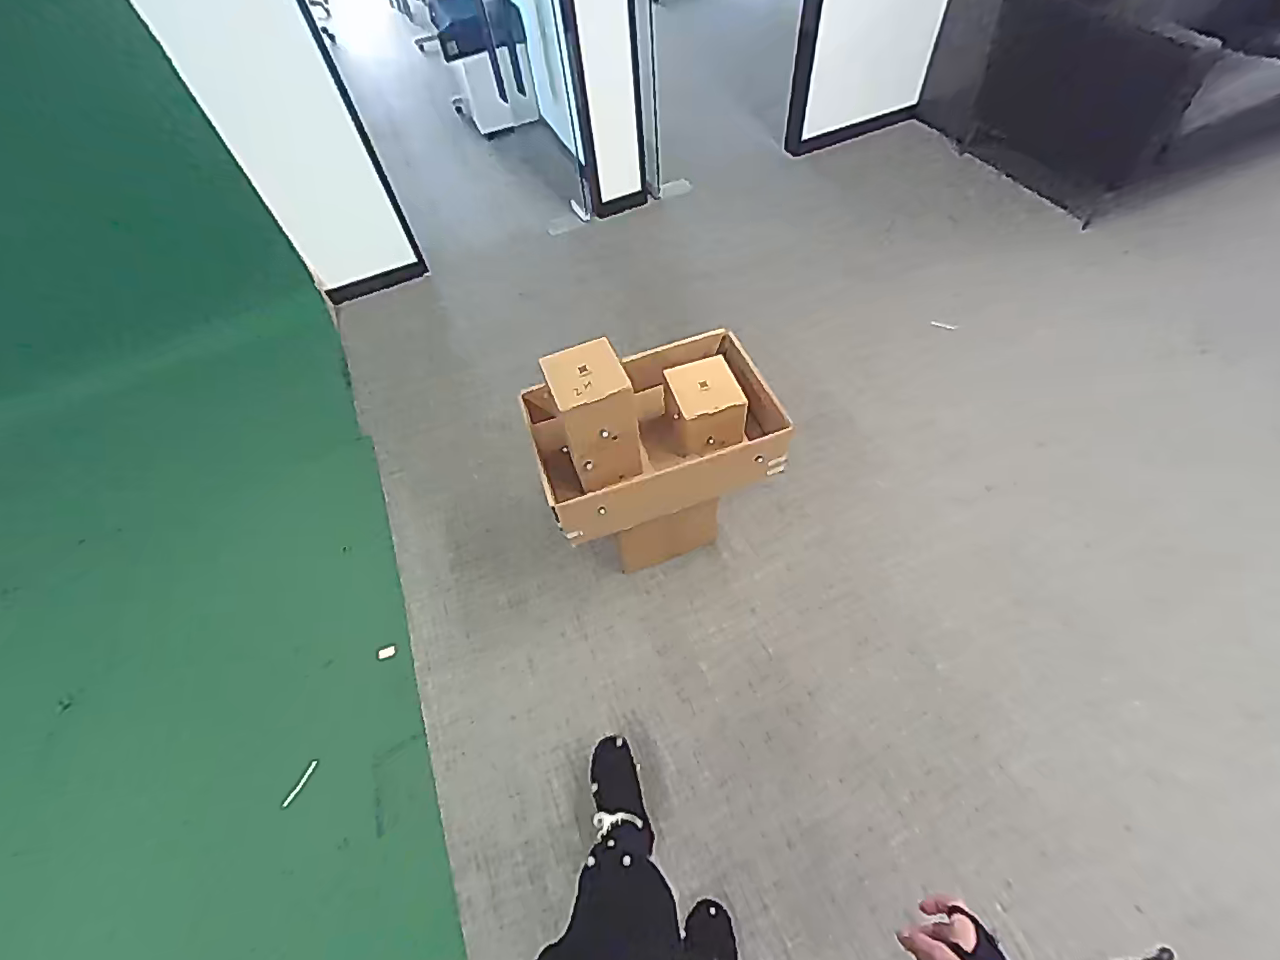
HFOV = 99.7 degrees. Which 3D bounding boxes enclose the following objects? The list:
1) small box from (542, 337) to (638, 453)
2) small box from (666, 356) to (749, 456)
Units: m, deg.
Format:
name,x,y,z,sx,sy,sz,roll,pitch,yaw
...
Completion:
name,x,y,z,sx,sy,sz,roll,pitch,yaw
small box,-0.113,-0.193,1.247,0.168,0.176,0.179,-20,57,-8
small box,0.170,-0.192,1.422,0.168,0.176,0.179,-16,57,-6
